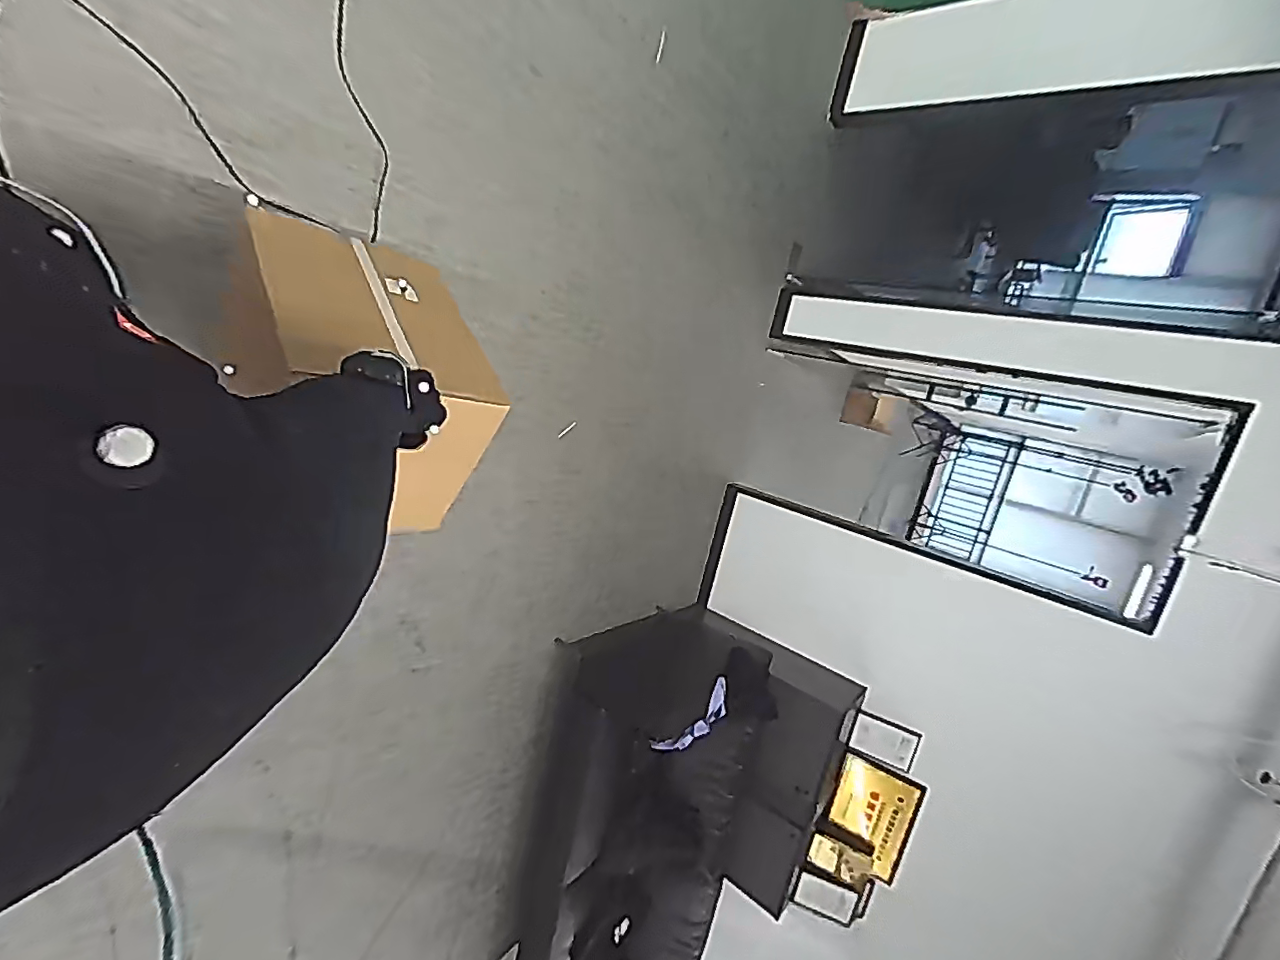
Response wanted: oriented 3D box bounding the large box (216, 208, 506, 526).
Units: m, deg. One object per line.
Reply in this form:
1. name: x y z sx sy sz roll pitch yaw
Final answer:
1. large box: -0.496 -0.172 0.930 0.320 0.408 0.320 3 135 -48
